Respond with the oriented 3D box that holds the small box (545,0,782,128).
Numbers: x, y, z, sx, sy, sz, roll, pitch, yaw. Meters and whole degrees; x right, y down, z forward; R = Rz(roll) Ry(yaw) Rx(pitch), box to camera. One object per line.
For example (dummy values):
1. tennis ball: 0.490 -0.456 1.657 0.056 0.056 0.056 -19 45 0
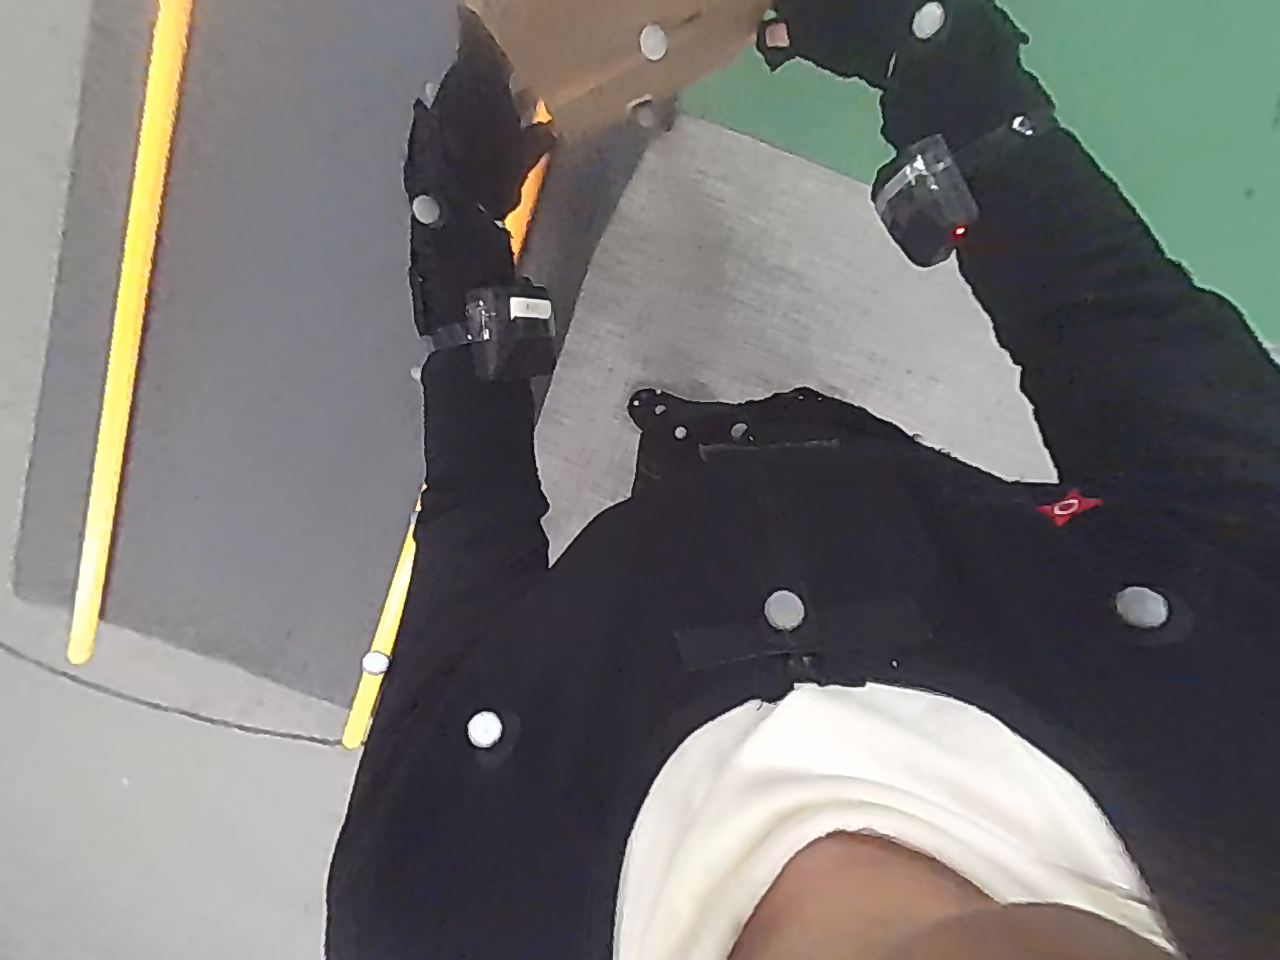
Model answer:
1. small box: -0.010 -0.387 0.383 0.168 0.176 0.179 -21 115 10
